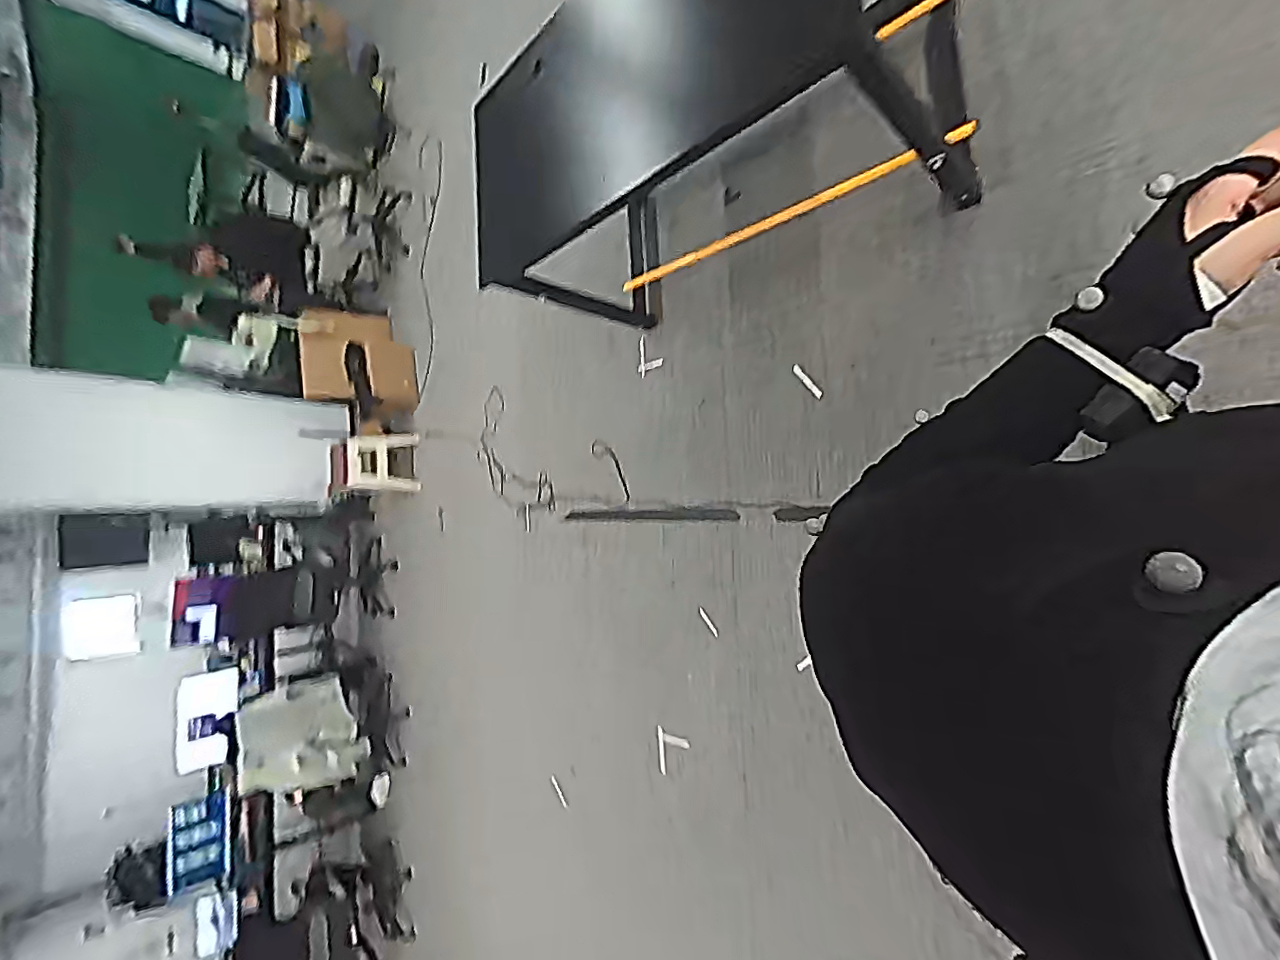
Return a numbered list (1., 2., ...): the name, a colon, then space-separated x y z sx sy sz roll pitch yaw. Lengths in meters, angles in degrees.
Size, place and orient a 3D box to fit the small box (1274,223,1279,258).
1. small box: 0.518 -0.223 0.306 0.168 0.176 0.179 18 110 40
